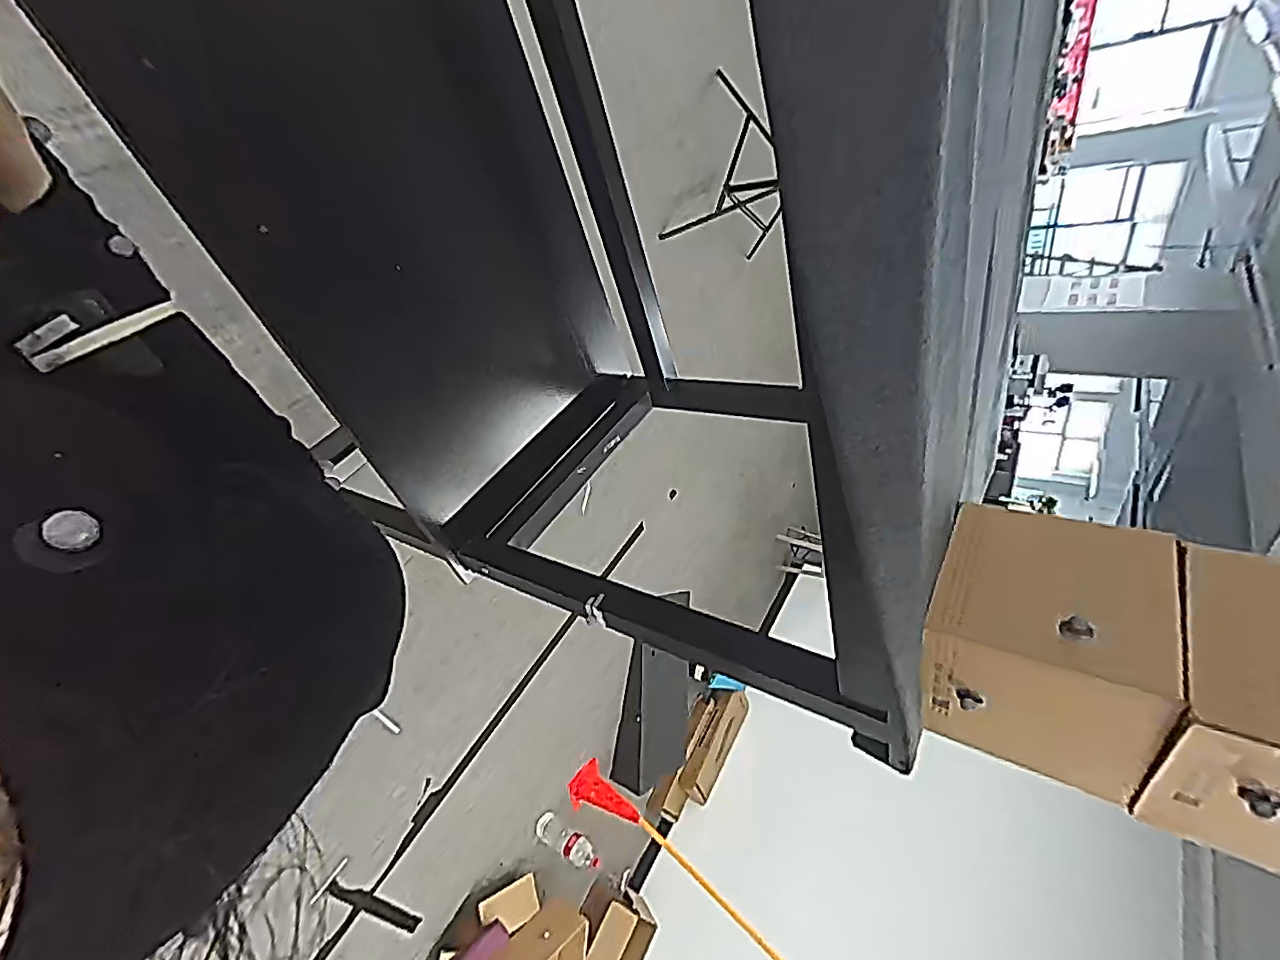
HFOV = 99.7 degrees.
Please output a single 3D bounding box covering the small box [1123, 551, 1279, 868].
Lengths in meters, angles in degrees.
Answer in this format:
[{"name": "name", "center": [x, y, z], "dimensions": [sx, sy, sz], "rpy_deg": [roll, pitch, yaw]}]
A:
[{"name": "small box", "center": [0.501, 0.179, 0.415], "dimensions": [0.179, 0.176, 0.168], "rpy_deg": [-50, 135, -33]}]
